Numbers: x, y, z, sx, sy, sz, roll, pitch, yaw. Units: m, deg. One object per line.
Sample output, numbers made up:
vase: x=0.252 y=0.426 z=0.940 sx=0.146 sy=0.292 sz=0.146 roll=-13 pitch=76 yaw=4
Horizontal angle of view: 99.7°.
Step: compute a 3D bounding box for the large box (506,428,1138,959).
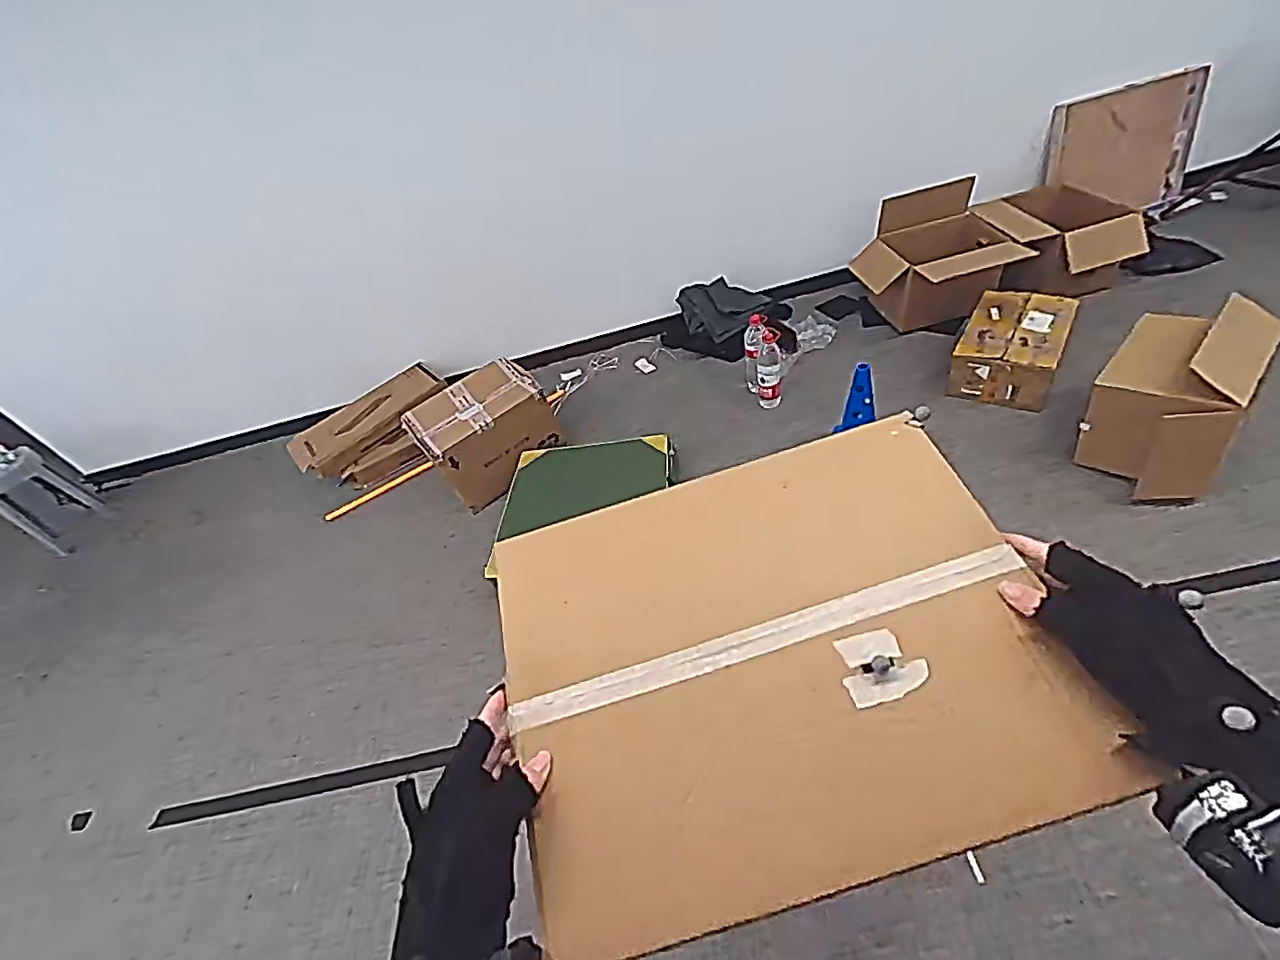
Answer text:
large box: x=0.122 y=0.211 z=0.553 sx=0.408 sy=0.320 sz=0.320 roll=-18 pitch=56 yaw=0
